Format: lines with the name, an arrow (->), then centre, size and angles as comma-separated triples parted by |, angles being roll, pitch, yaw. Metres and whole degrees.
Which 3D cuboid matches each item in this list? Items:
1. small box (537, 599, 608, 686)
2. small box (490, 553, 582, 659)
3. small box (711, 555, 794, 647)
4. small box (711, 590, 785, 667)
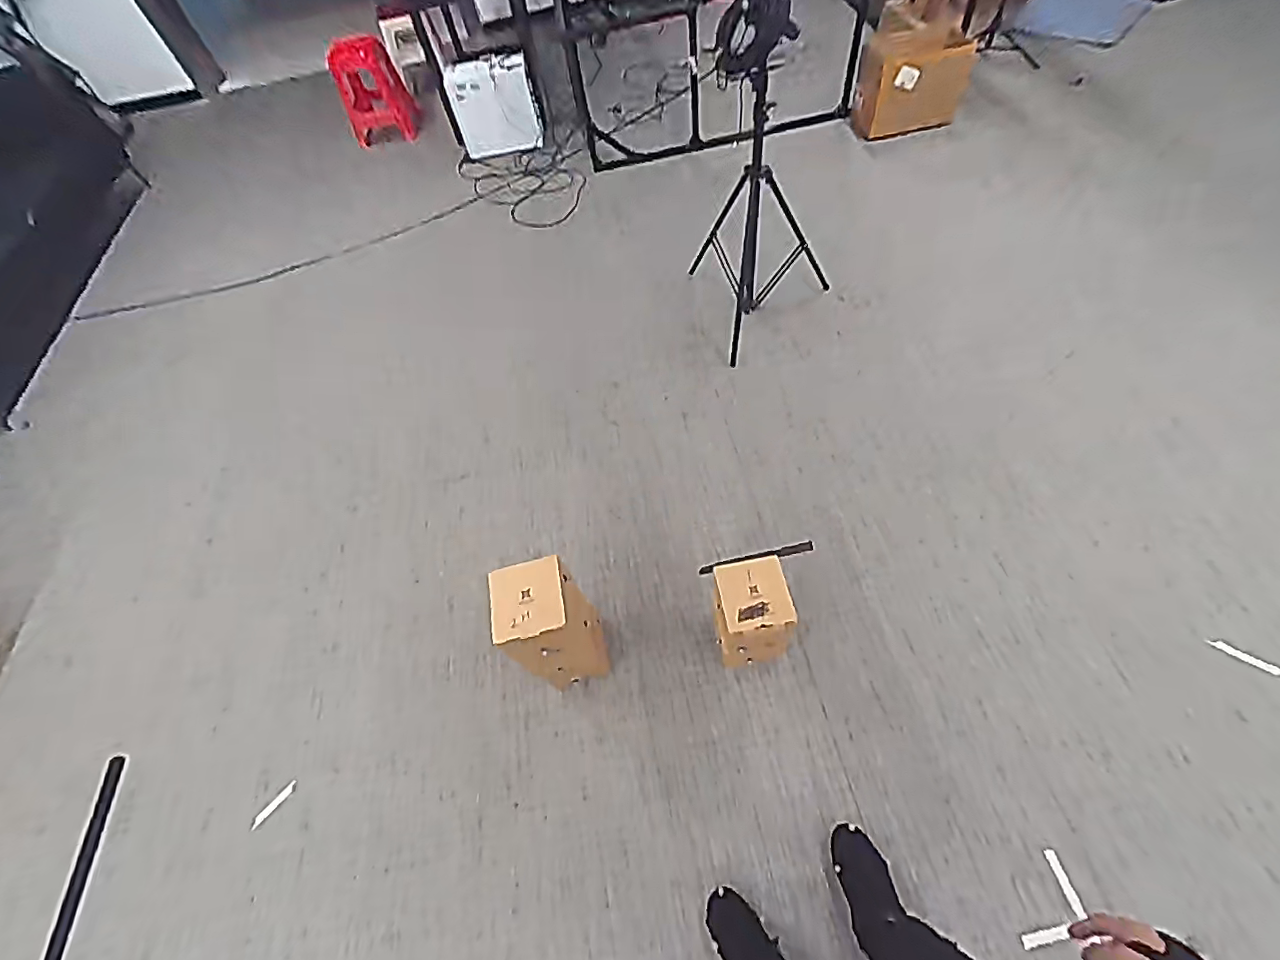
small box -> -0.195, 0.467, 1.545 | 0.168, 0.176, 0.179 | -14, 56, 0
small box -> -0.242, 0.298, 1.268 | 0.168, 0.176, 0.179 | -15, 57, 1
small box -> 0.281, 0.315, 1.375 | 0.168, 0.176, 0.179 | -10, 57, 1
small box -> 0.294, 0.405, 1.512 | 0.168, 0.176, 0.179 | -10, 57, 2
